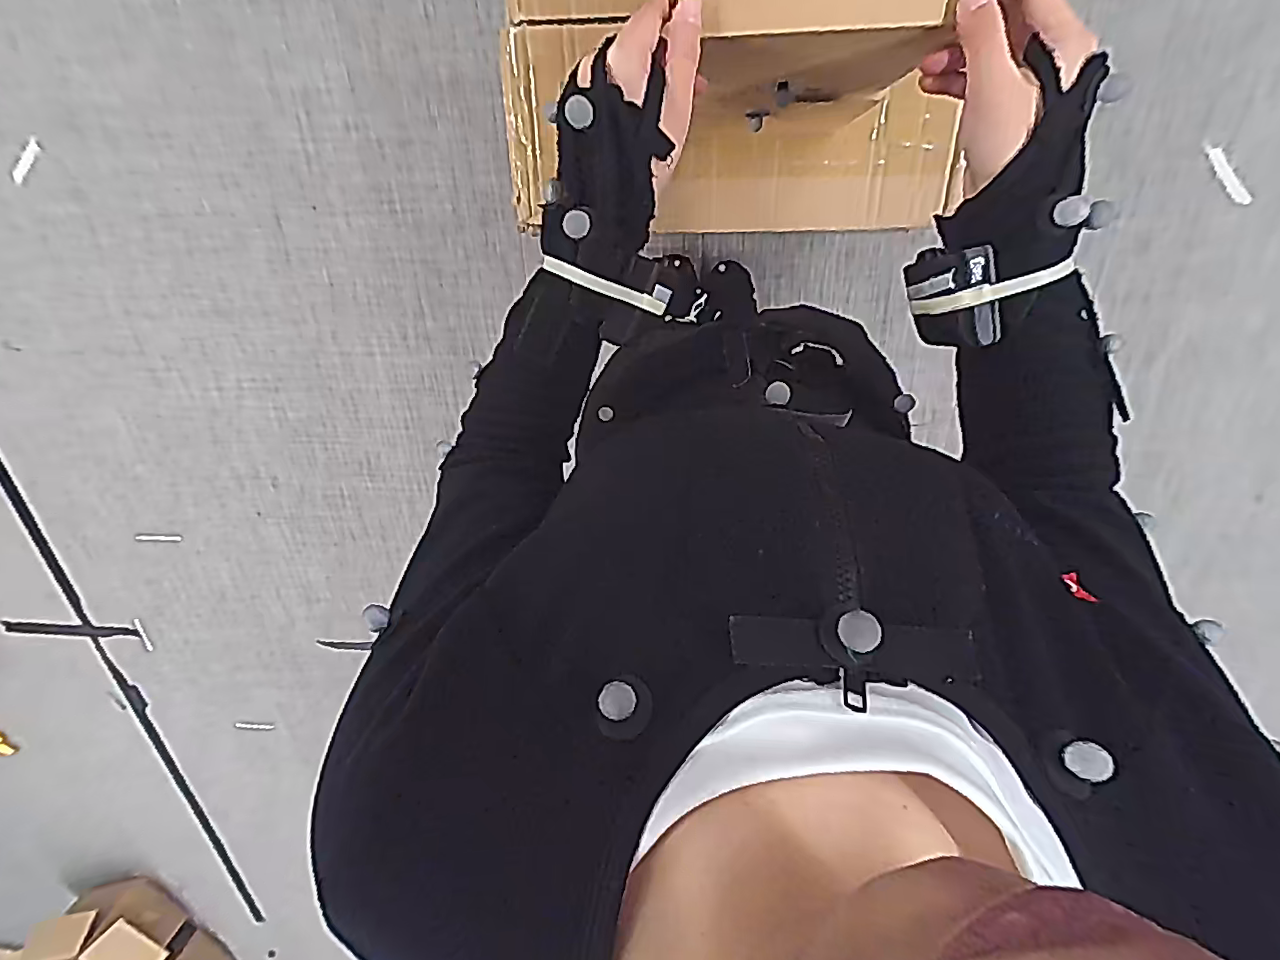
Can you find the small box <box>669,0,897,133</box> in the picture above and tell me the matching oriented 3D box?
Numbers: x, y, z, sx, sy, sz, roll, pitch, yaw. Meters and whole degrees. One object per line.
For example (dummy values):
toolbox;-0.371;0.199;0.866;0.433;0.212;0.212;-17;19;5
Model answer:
small box;0.117;-0.421;0.483;0.179;0.176;0.168;1;115;4
